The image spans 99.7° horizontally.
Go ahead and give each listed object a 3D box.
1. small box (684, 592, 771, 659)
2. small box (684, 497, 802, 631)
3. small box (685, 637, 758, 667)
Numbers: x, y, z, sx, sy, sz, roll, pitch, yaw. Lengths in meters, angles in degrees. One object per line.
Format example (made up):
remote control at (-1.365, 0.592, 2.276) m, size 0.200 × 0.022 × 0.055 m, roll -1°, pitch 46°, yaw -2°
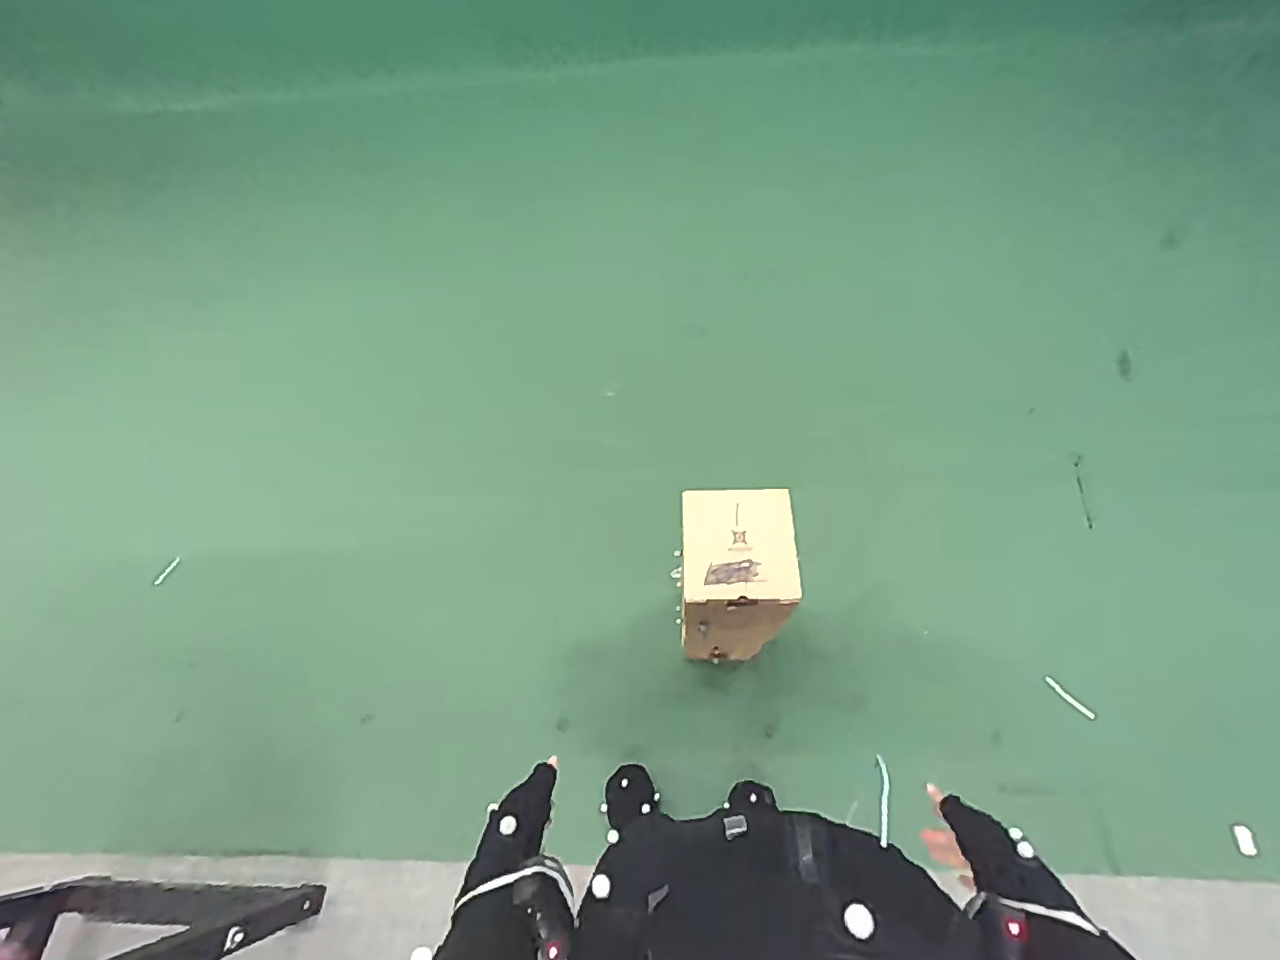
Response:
small box at (0.181, 0.281, 1.165) m, size 0.168 × 0.176 × 0.179 m, roll -2°, pitch 64°, yaw 4°
small box at (0.155, 0.140, 0.868) m, size 0.168 × 0.176 × 0.179 m, roll -1°, pitch 62°, yaw 4°
small box at (0.193, 0.348, 1.313) m, size 0.168 × 0.176 × 0.179 m, roll 0°, pitch 63°, yaw 6°
